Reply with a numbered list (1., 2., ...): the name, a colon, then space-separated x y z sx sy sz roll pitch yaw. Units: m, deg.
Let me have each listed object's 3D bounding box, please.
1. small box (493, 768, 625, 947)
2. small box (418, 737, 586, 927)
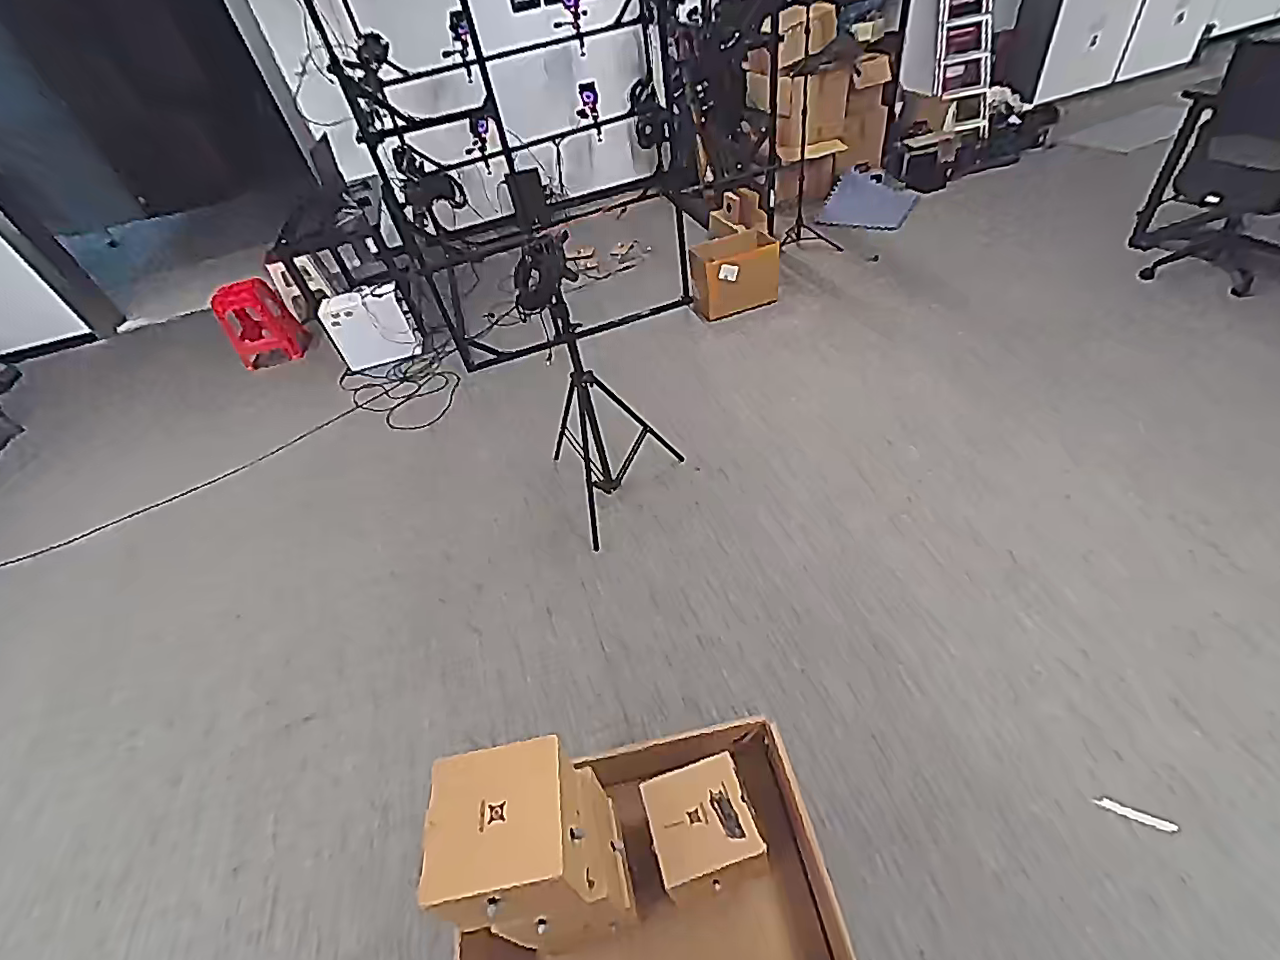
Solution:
1. small box: -0.127 0.589 0.847 0.168 0.176 0.179 -14 43 -4
2. small box: -0.173 0.478 0.734 0.179 0.176 0.168 -12 43 -2
